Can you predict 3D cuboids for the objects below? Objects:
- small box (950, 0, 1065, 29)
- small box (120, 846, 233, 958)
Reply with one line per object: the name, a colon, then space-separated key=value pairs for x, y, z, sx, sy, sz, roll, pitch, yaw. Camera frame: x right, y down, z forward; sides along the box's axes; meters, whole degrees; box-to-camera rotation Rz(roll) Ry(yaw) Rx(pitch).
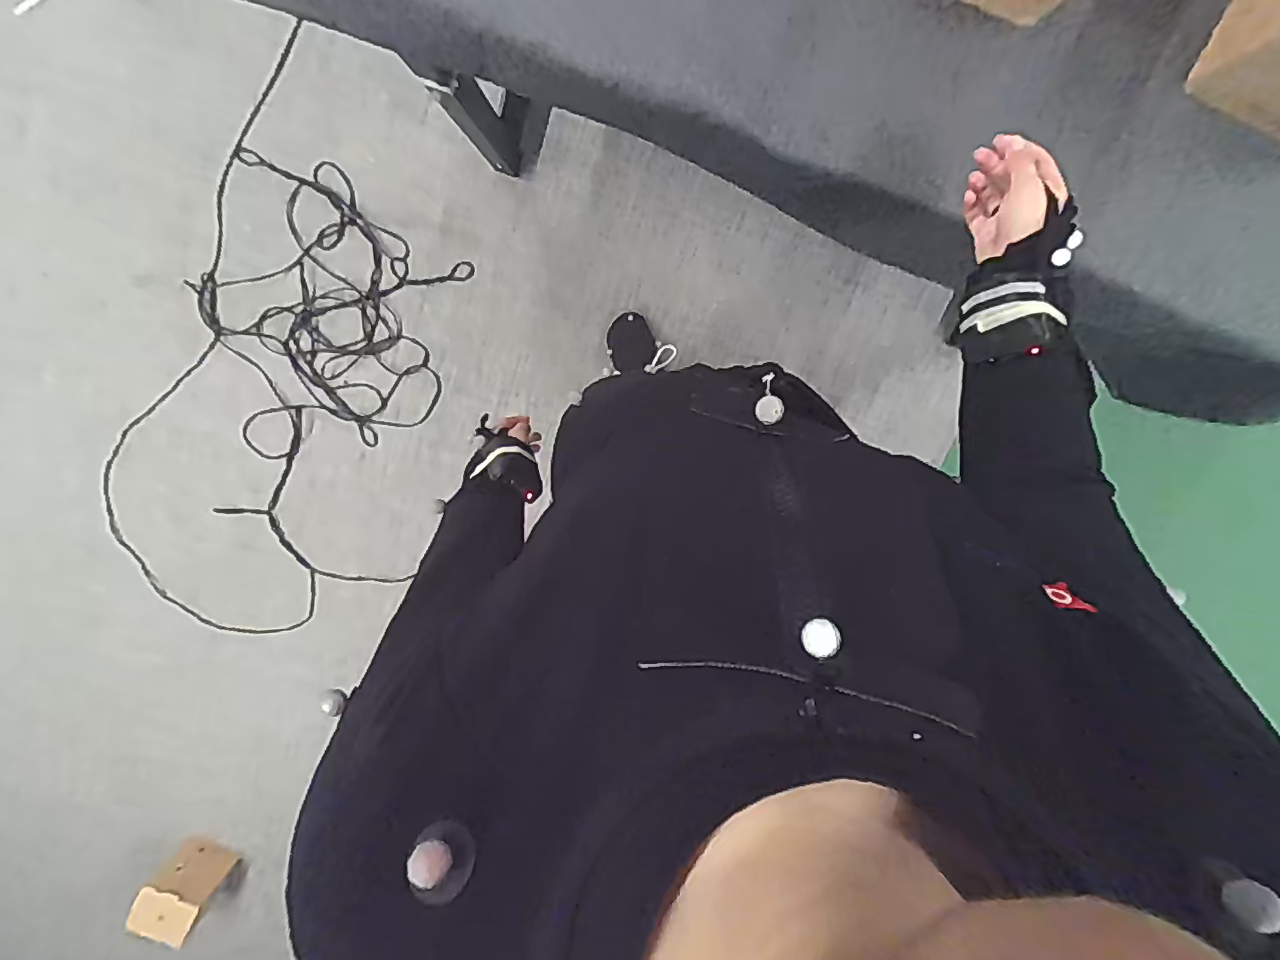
small box: x=0.323 y=-0.512 z=0.413 sx=0.168 sy=0.176 sz=0.179 roll=18 pitch=103 yaw=-5
small box: x=-1.345 y=1.227 z=1.584 sx=0.168 sy=0.176 sz=0.179 roll=29 pitch=103 yaw=-6
